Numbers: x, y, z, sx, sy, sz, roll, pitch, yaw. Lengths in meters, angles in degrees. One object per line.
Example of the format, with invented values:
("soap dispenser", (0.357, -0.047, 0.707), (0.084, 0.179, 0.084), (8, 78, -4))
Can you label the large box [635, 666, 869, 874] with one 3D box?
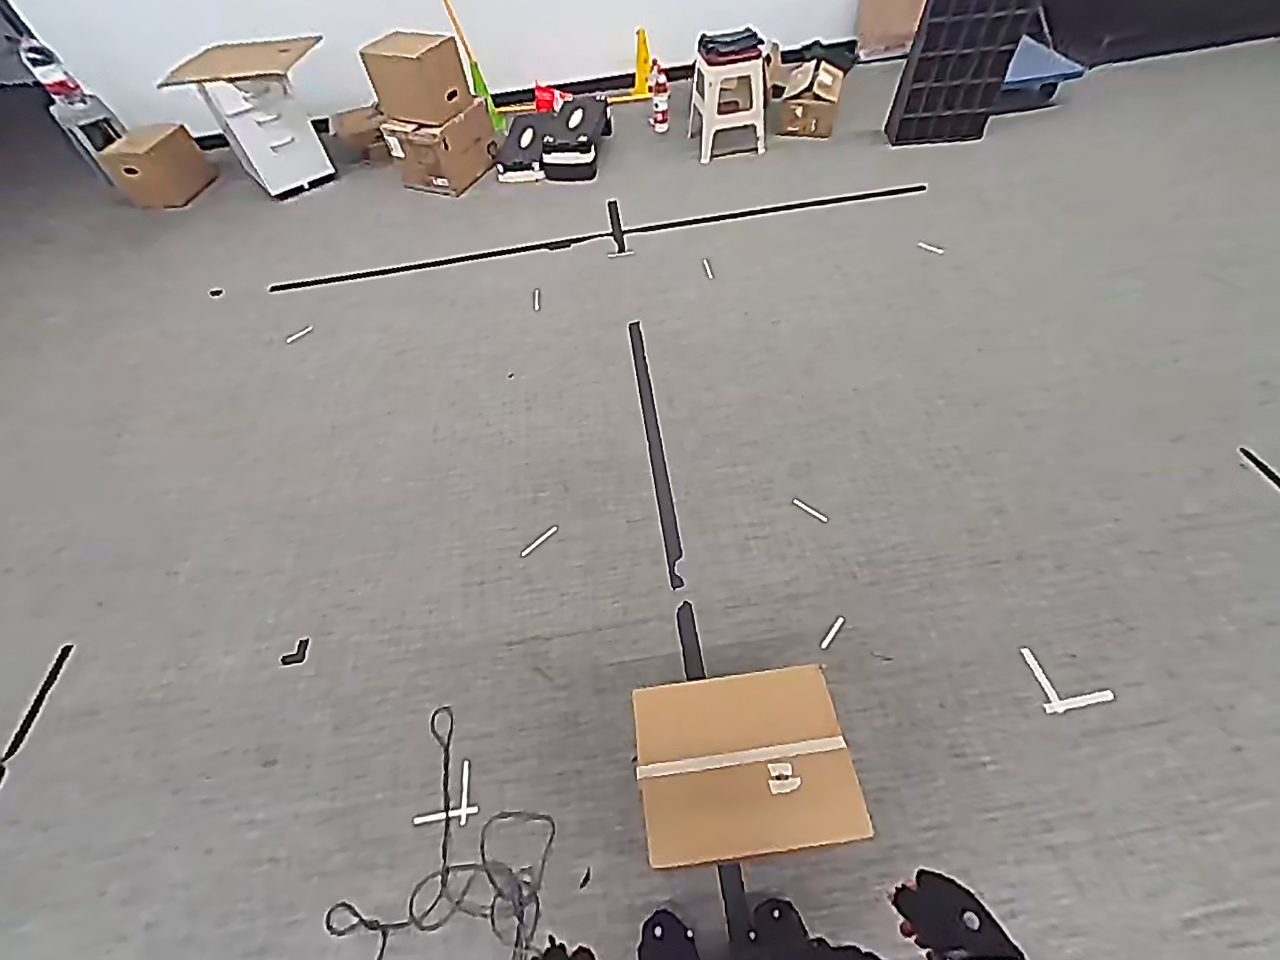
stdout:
("large box", (0.214, 0.638, 1.181), (0.408, 0.320, 0.320), (-8, 53, -1))
